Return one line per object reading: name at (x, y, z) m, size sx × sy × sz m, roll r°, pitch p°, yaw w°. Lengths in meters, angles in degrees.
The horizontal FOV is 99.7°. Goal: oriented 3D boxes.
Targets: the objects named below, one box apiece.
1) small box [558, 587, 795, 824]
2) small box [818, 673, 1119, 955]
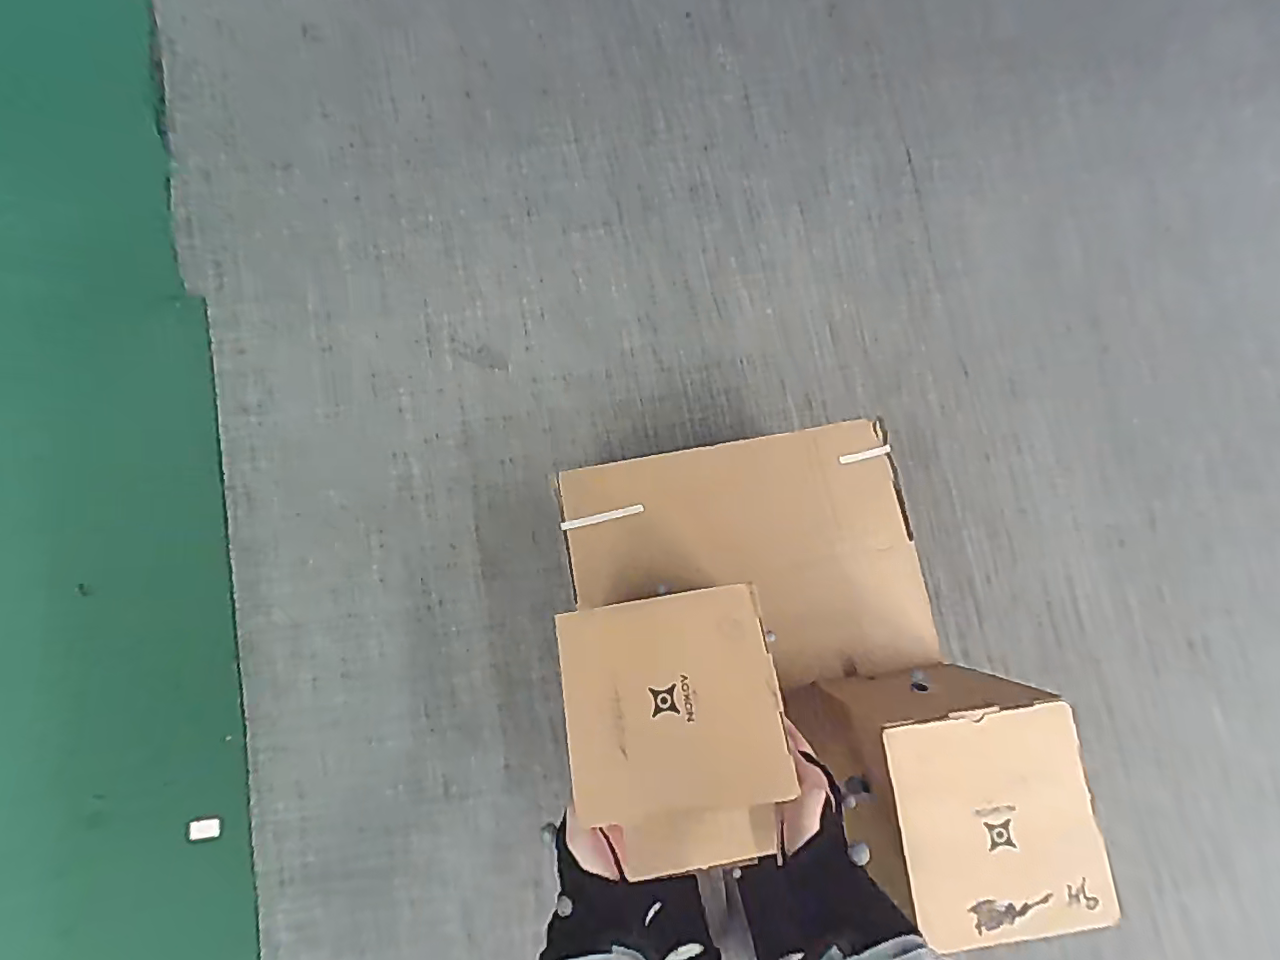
small box at (0.034, 0.203, 0.516) m, size 0.179 × 0.176 × 0.168 m, roll -11°, pitch 70°, yaw 6°
small box at (0.287, 0.291, 0.518) m, size 0.168 × 0.176 × 0.179 m, roll -7°, pitch 81°, yaw -2°
